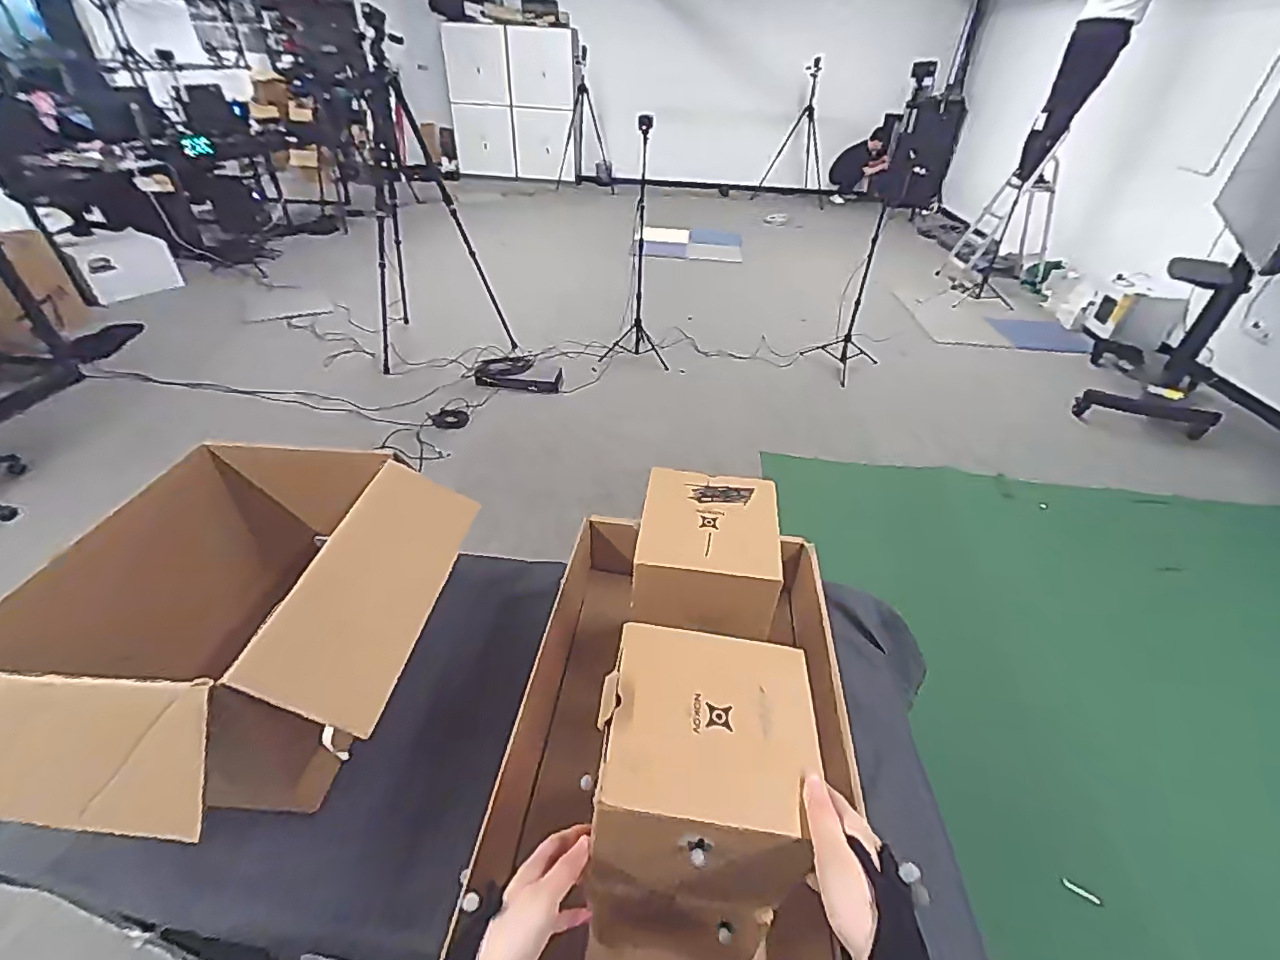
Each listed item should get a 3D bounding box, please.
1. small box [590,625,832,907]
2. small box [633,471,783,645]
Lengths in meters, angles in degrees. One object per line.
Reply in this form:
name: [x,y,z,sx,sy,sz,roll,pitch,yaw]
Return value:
small box: [0.053,0.264,0.502,0.179,0.176,0.168,10,38,0]
small box: [0.084,0.114,0.705,0.168,0.176,0.179,6,40,5]
